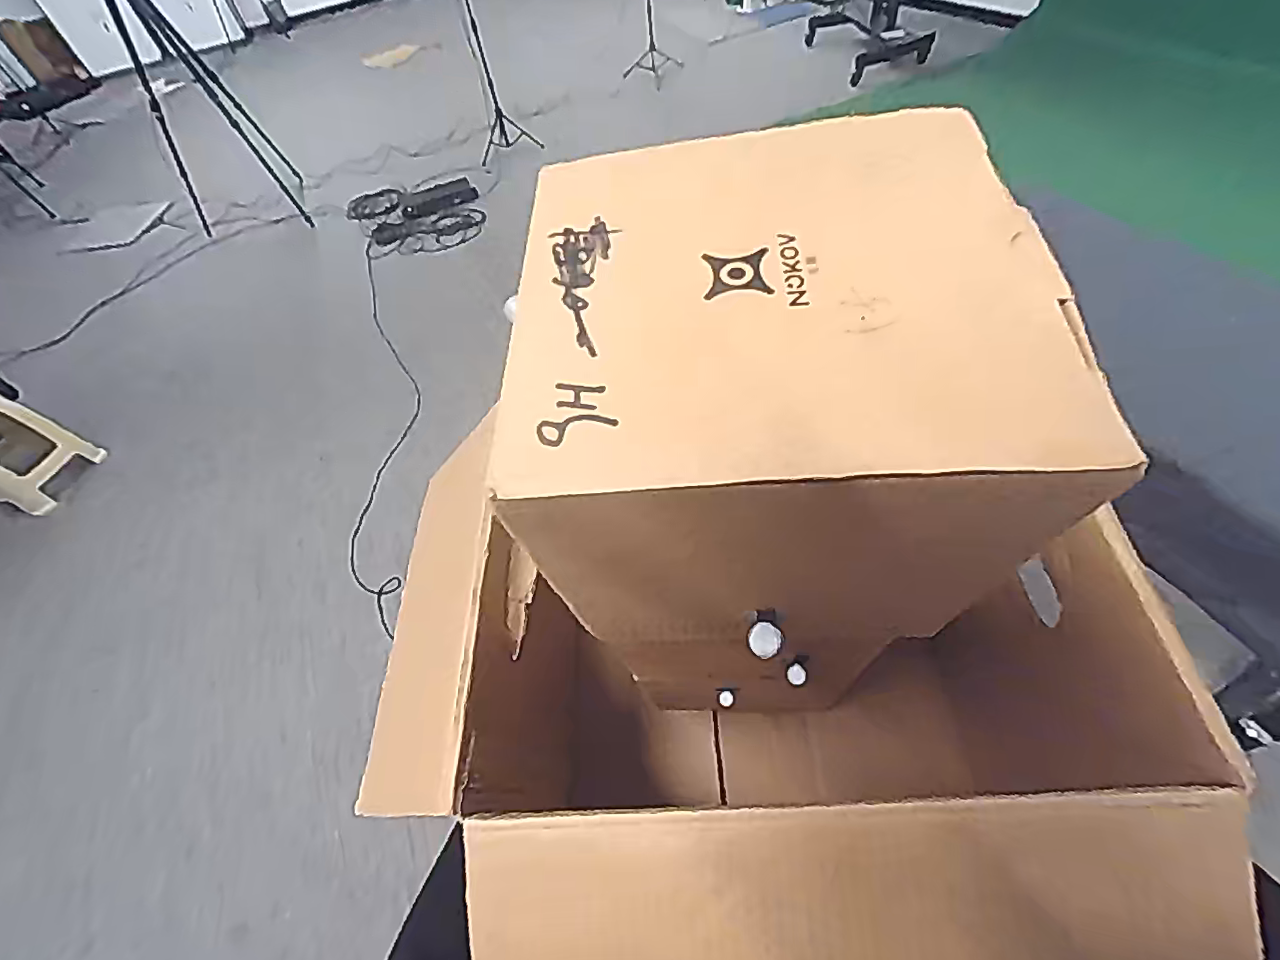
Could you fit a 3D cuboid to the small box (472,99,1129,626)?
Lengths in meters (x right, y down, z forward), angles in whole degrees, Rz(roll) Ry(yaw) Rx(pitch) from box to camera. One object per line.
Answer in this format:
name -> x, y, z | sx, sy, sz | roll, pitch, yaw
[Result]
small box -> 0.049, -0.035, 0.251 | 0.179, 0.176, 0.168 | -2, 60, 7
